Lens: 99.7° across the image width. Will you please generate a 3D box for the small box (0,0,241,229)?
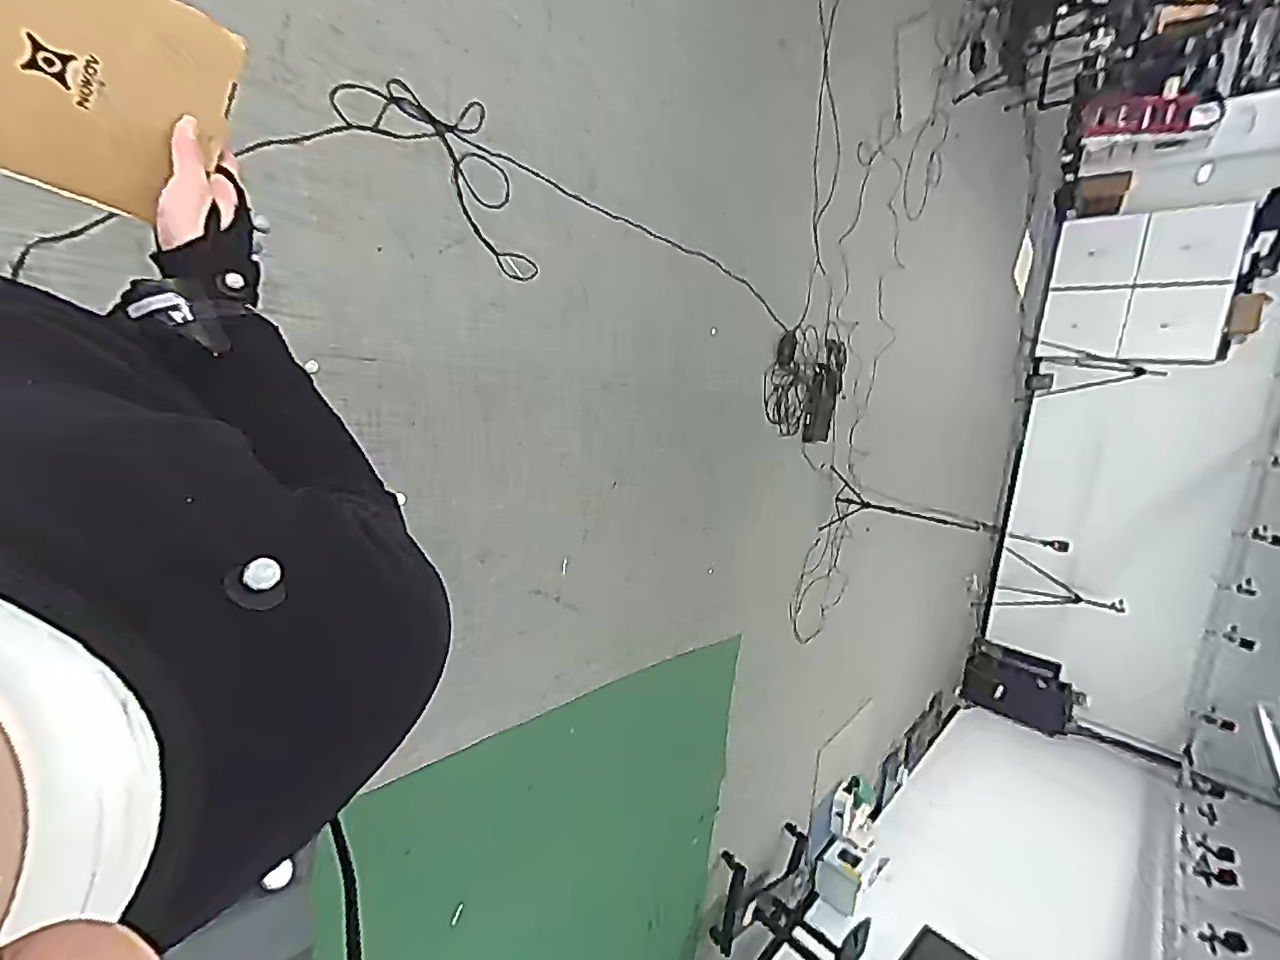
[{"bbox_3d":[-0.453,-0.332,0.412,0.179,0.176,0.168,7,119,-56],"label":"small box"}]
